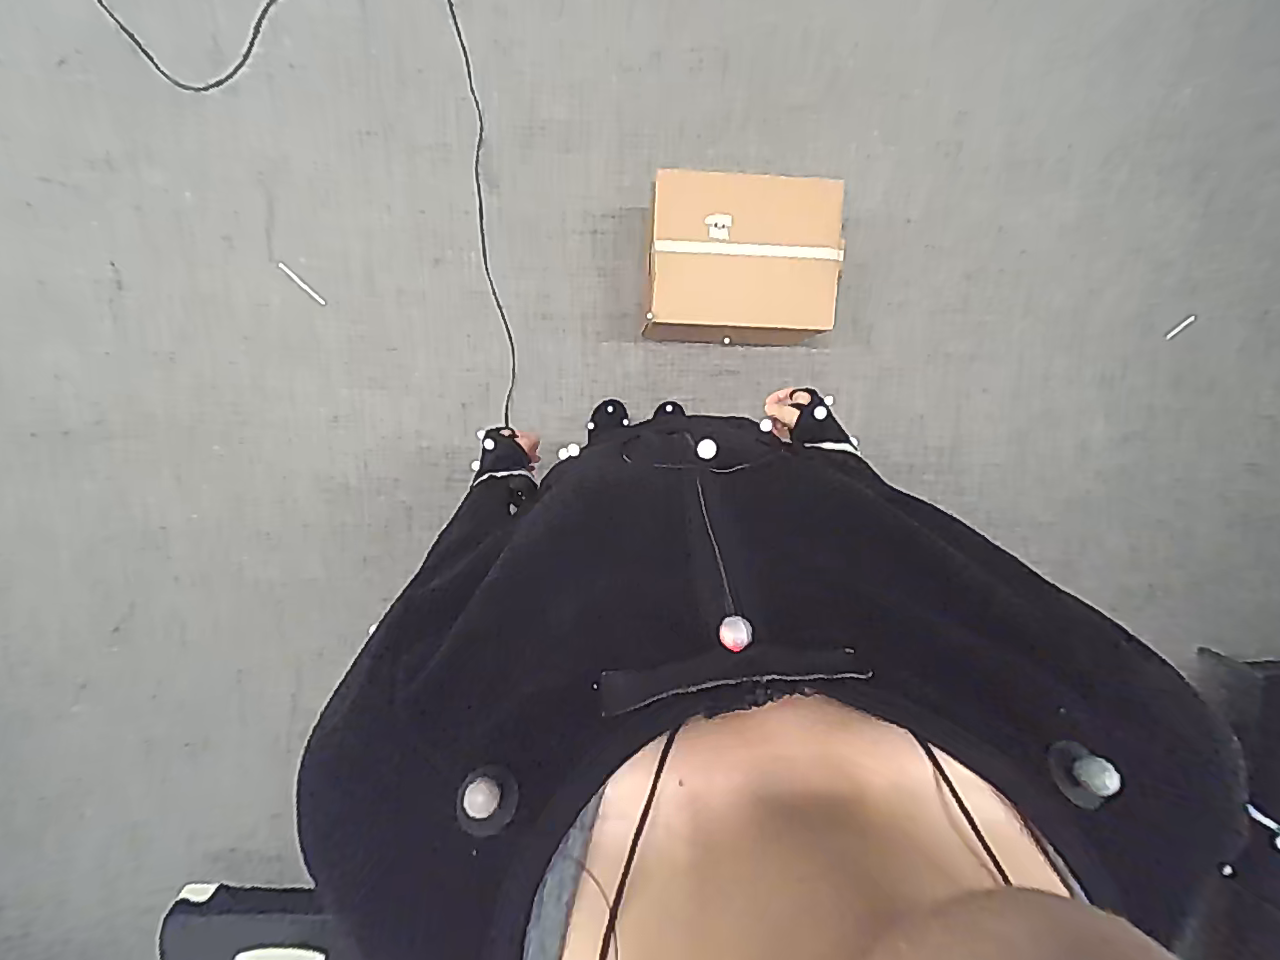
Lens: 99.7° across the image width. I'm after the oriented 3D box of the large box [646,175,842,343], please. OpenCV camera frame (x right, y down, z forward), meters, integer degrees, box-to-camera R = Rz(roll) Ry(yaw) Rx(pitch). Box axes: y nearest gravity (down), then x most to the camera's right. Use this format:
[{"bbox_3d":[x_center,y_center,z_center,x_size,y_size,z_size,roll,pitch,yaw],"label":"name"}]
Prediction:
[{"bbox_3d":[0.225,-0.505,1.306,0.408,0.320,0.320,2,97,-2],"label":"large box"}]
